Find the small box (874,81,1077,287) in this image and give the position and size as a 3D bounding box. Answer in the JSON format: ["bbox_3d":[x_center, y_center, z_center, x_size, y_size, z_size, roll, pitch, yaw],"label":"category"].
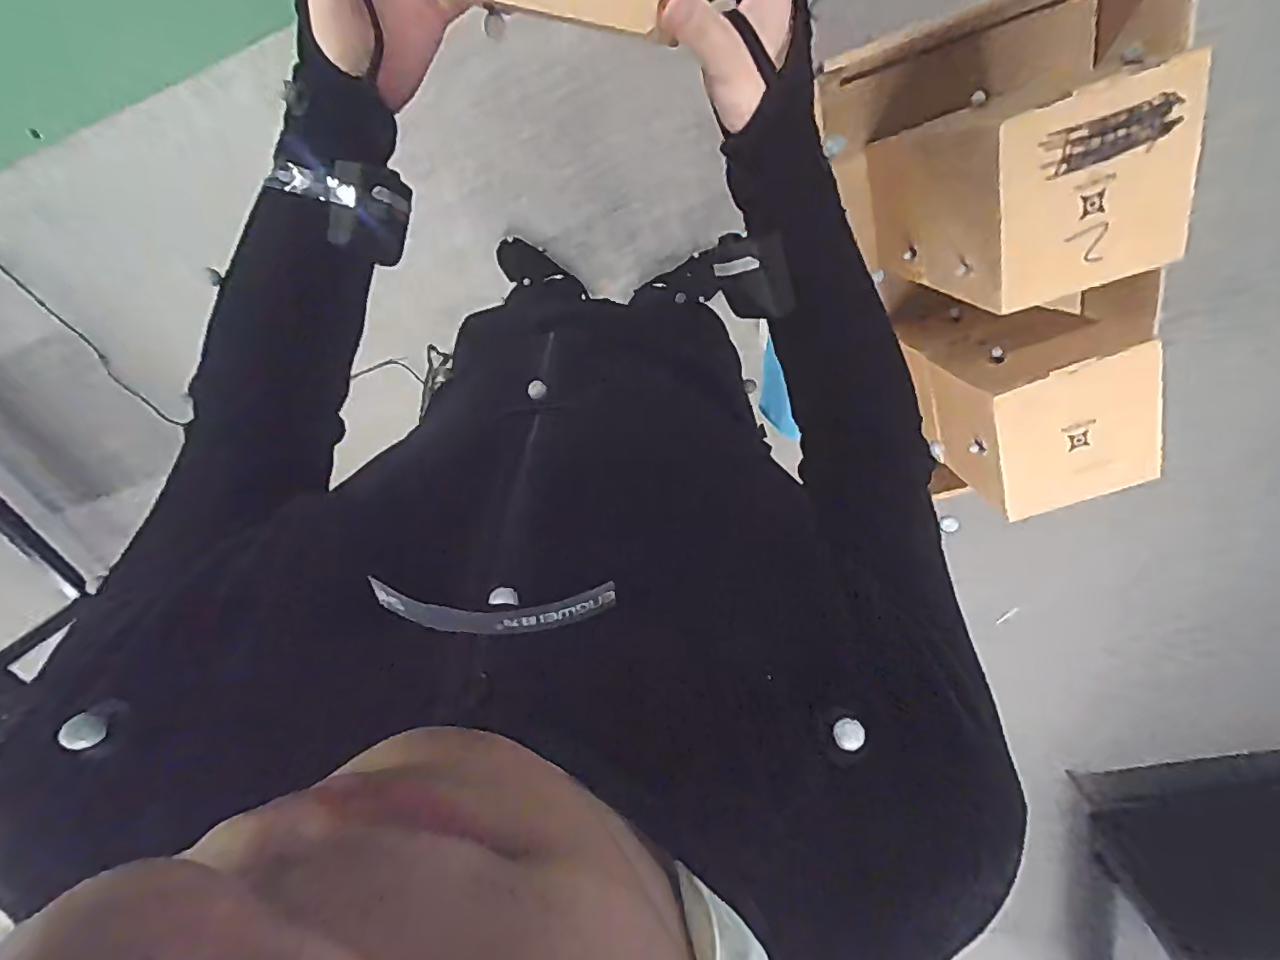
[{"bbox_3d":[0.420,-0.374,0.701,0.168,0.176,0.179,-16,118,10],"label":"small box"}]

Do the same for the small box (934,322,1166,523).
[{"bbox_3d":[0.488,-0.080,0.666,0.168,0.176,0.179,-19,115,13],"label":"small box"}]

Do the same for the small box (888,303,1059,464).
[{"bbox_3d":[0.494,-0.154,0.812,0.168,0.176,0.179,-18,114,12],"label":"small box"}]
